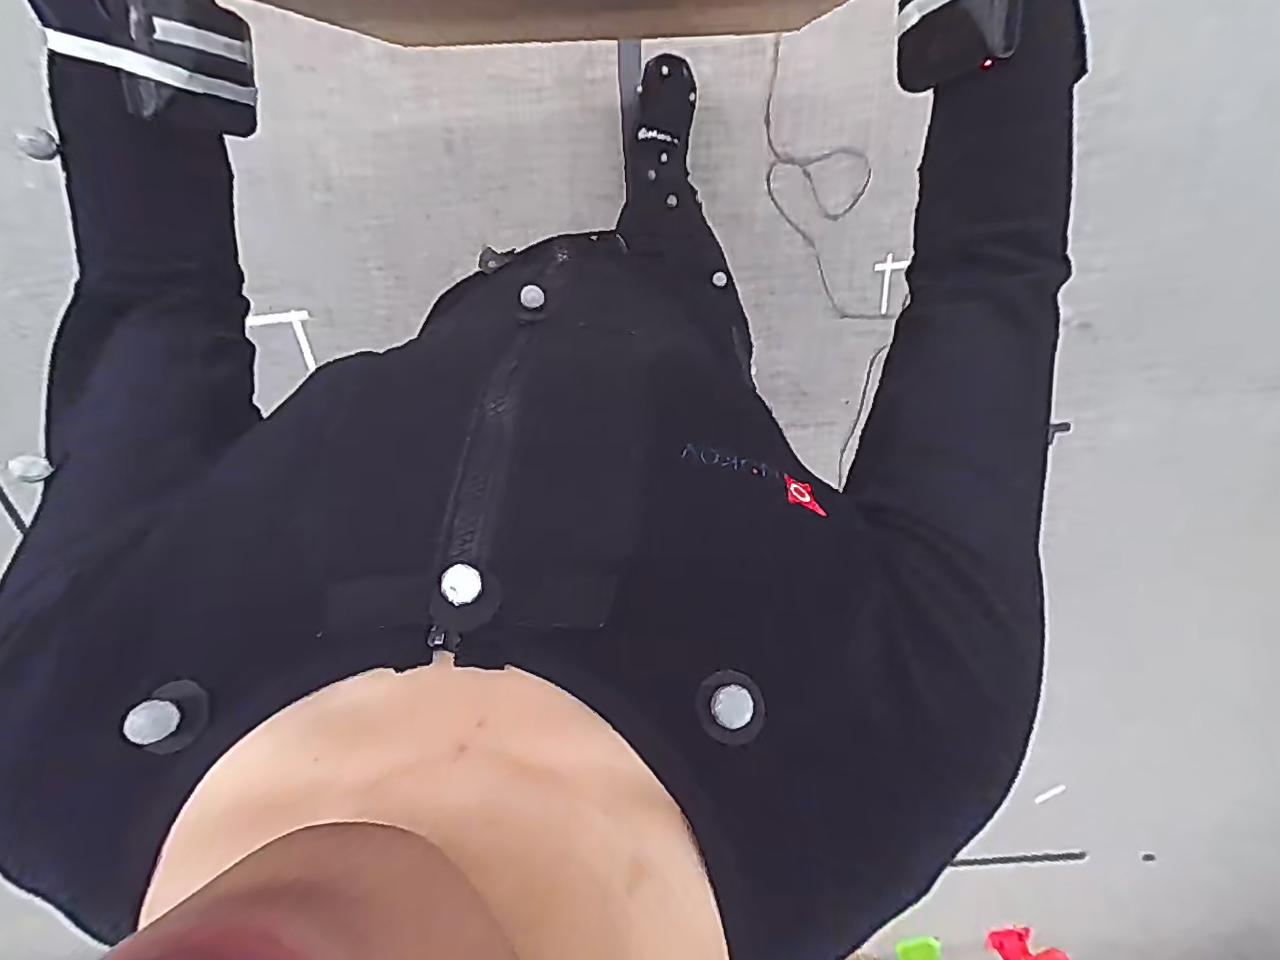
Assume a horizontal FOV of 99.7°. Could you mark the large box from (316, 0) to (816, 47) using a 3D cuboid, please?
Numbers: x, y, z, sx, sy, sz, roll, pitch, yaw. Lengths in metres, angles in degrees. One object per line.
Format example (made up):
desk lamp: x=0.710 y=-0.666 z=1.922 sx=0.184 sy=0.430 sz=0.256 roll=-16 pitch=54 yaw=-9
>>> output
large box: x=-0.043 y=-0.502 z=0.341 sx=0.408 sy=0.320 sz=0.320 roll=-3 pitch=123 yaw=1
